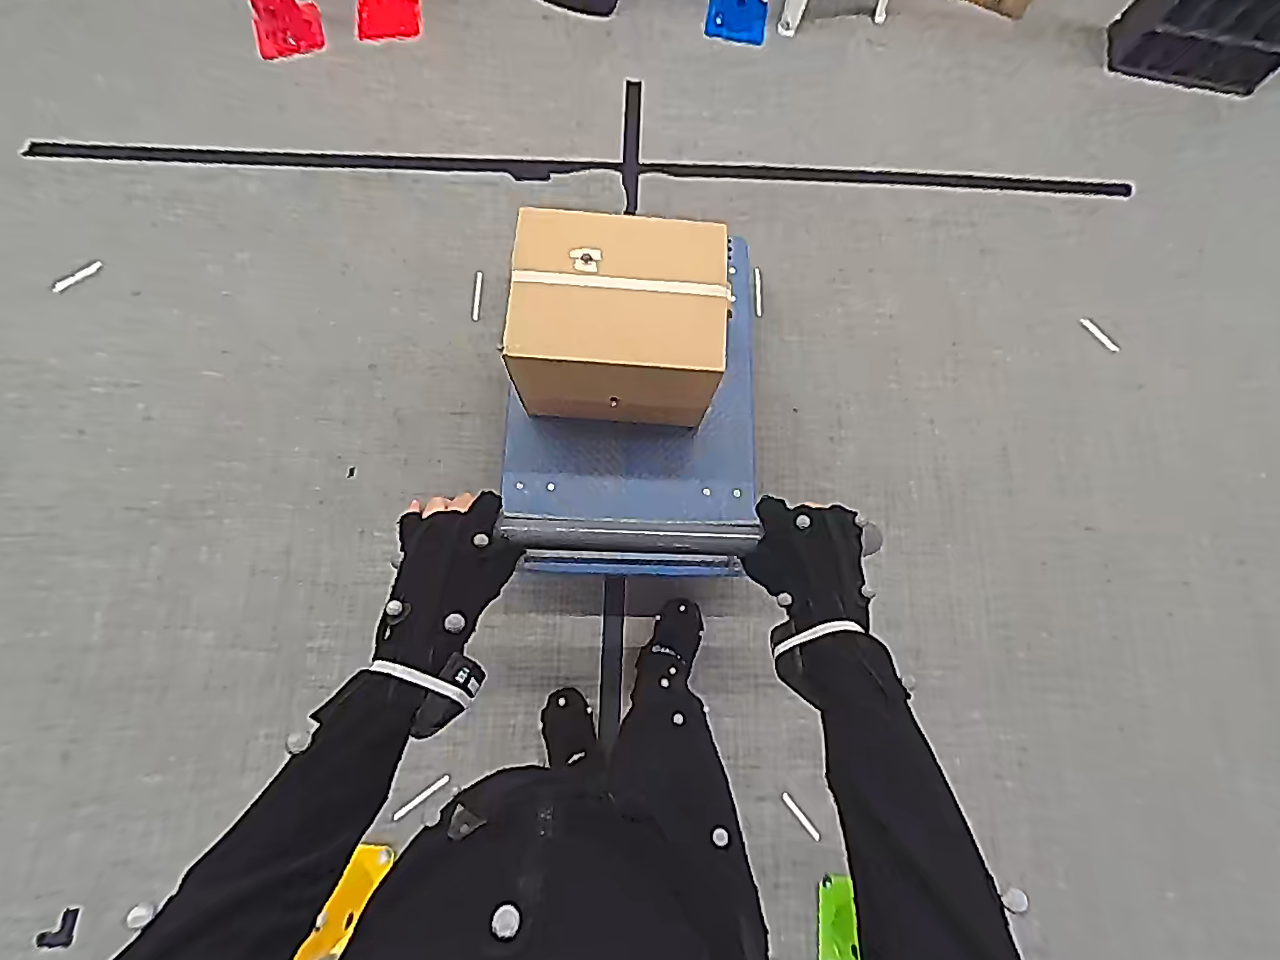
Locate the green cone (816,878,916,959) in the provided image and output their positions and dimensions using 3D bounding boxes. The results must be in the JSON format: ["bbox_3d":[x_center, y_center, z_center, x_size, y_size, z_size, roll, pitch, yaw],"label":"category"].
[{"bbox_3d":[0.496,0.950,1.020,0.202,0.368,0.200,6,75,-2],"label":"green cone"}]

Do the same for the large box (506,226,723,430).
[{"bbox_3d":[-0.045,-0.305,1.169,0.408,0.320,0.320,4,76,-1],"label":"large box"}]
